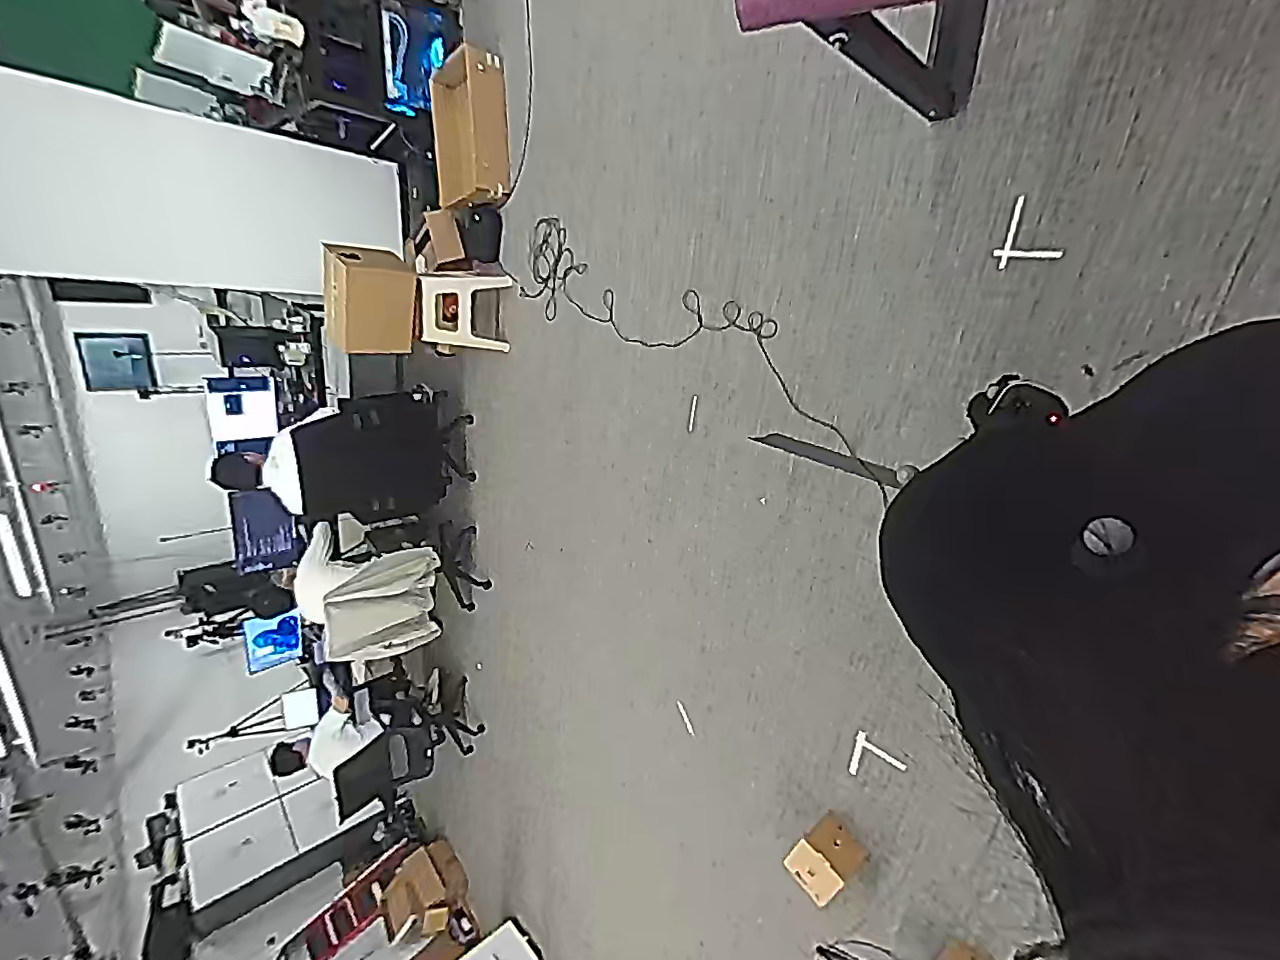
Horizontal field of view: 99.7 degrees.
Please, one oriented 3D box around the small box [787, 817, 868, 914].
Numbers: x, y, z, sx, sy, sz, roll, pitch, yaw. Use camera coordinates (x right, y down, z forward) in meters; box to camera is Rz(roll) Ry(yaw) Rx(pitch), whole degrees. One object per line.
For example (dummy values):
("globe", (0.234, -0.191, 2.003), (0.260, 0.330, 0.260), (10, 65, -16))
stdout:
("small box", (0.630, 1.276, 1.802), (0.168, 0.176, 0.179), (41, 126, 35))
